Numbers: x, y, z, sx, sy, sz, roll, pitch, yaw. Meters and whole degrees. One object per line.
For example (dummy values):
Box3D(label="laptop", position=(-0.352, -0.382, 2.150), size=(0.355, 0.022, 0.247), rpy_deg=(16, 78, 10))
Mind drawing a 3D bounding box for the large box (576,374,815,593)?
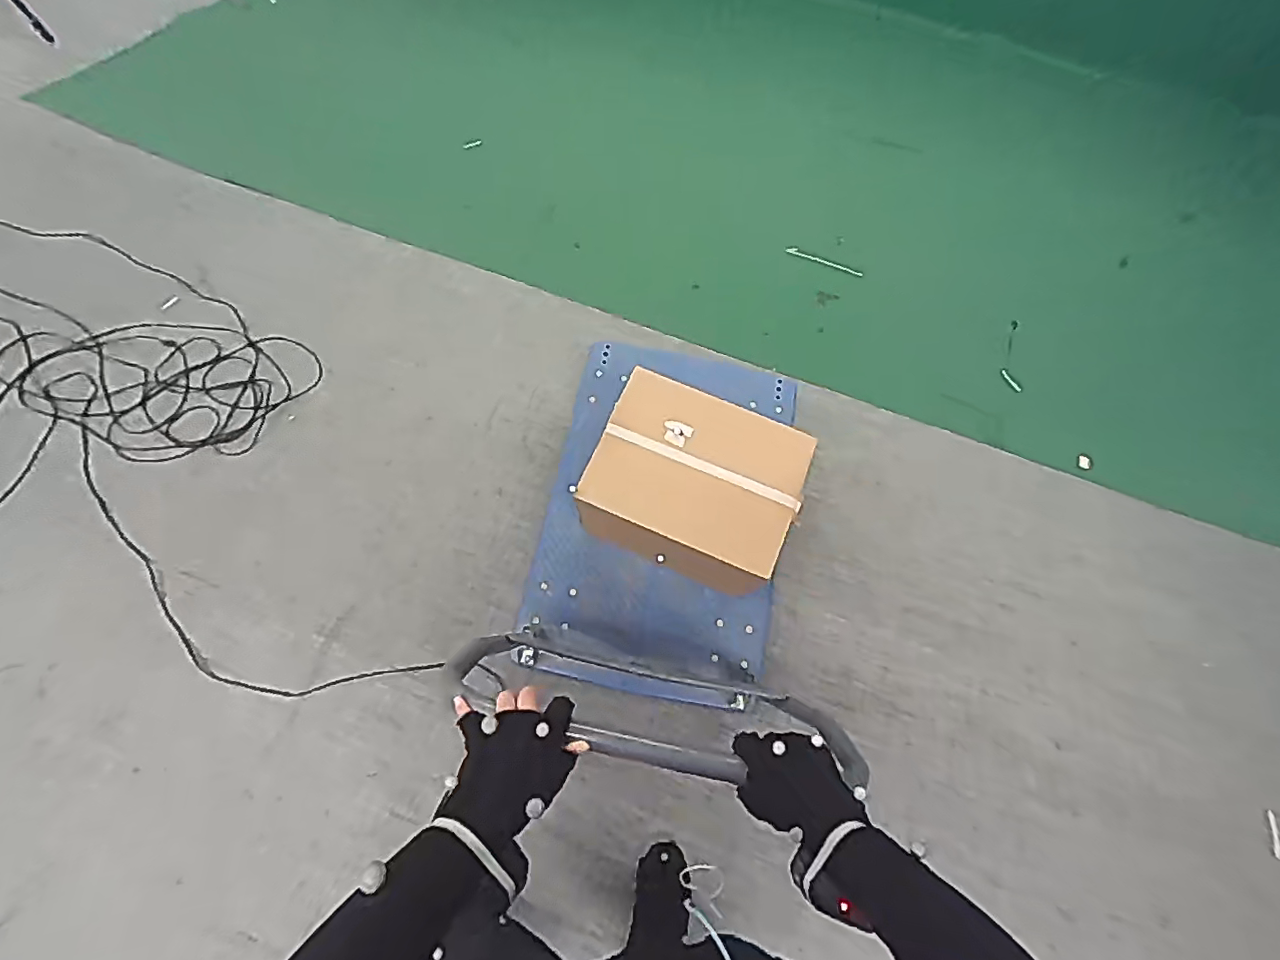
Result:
Box3D(label="large box", position=(0.114, 0.027, 1.205), size=(0.408, 0.320, 0.320), rpy_deg=(22, 73, 6))
